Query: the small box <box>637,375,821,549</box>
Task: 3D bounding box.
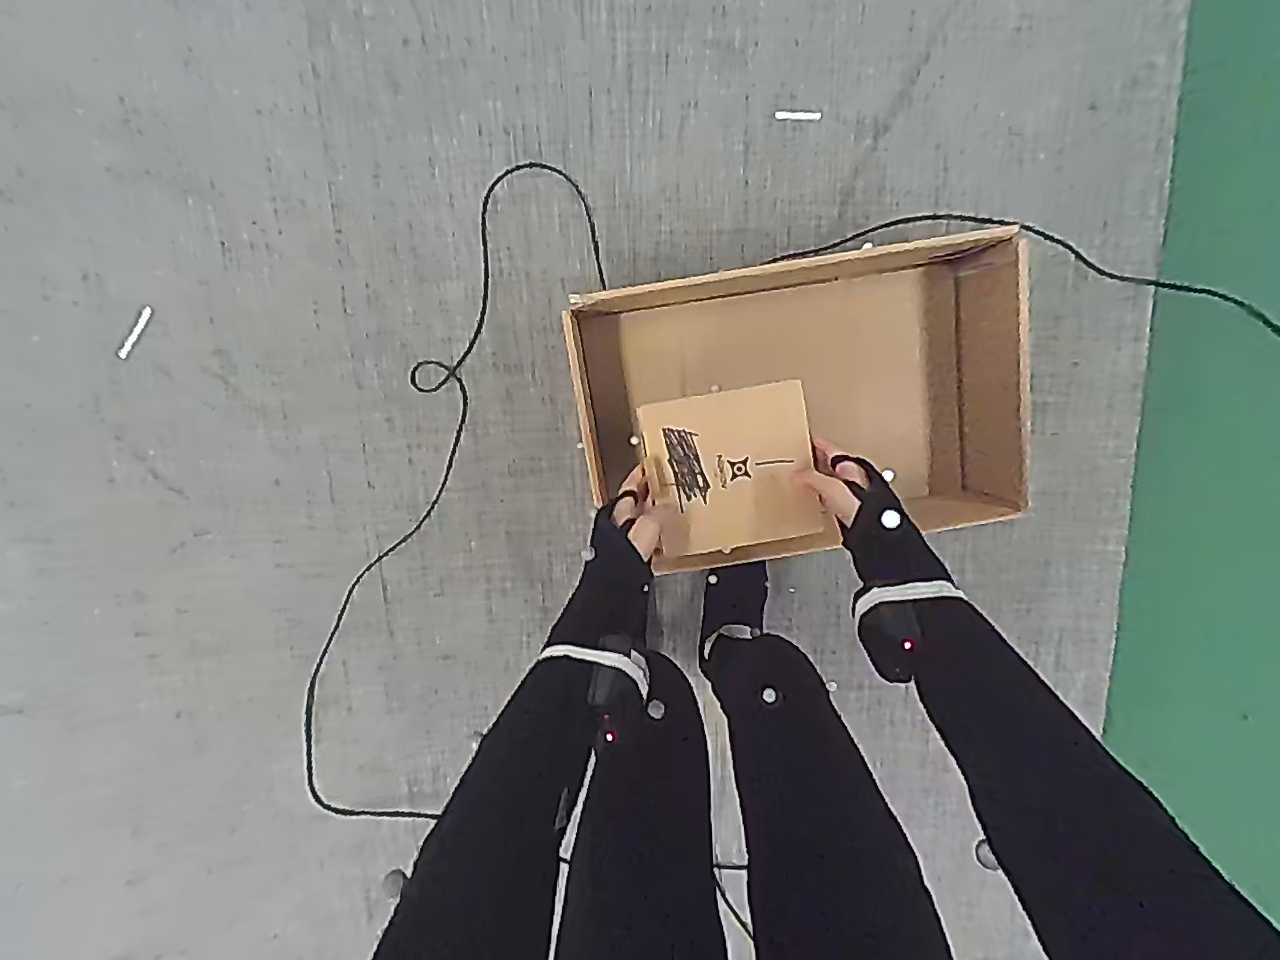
[{"bbox_3d":[0.095,-0.021,0.647,0.179,0.176,0.168,-9,93,0],"label":"small box"}]
